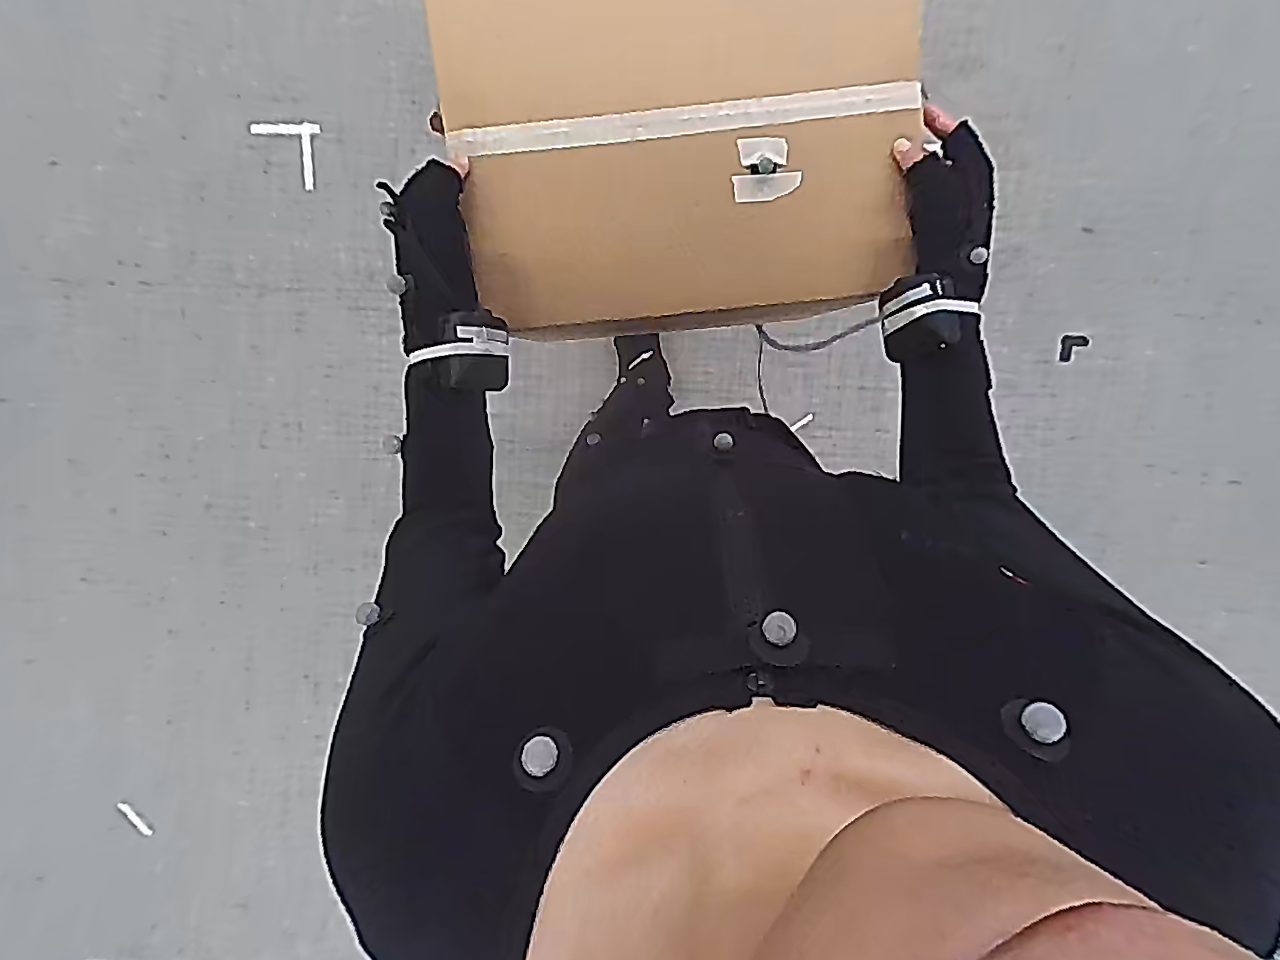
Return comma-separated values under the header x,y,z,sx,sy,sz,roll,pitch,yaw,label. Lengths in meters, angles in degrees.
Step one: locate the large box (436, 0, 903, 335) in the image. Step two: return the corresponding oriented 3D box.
x,y,z,sx,sy,sz,roll,pitch,yaw,label
0.032,-0.354,0.627,0.408,0.320,0.320,-6,103,0,large box
